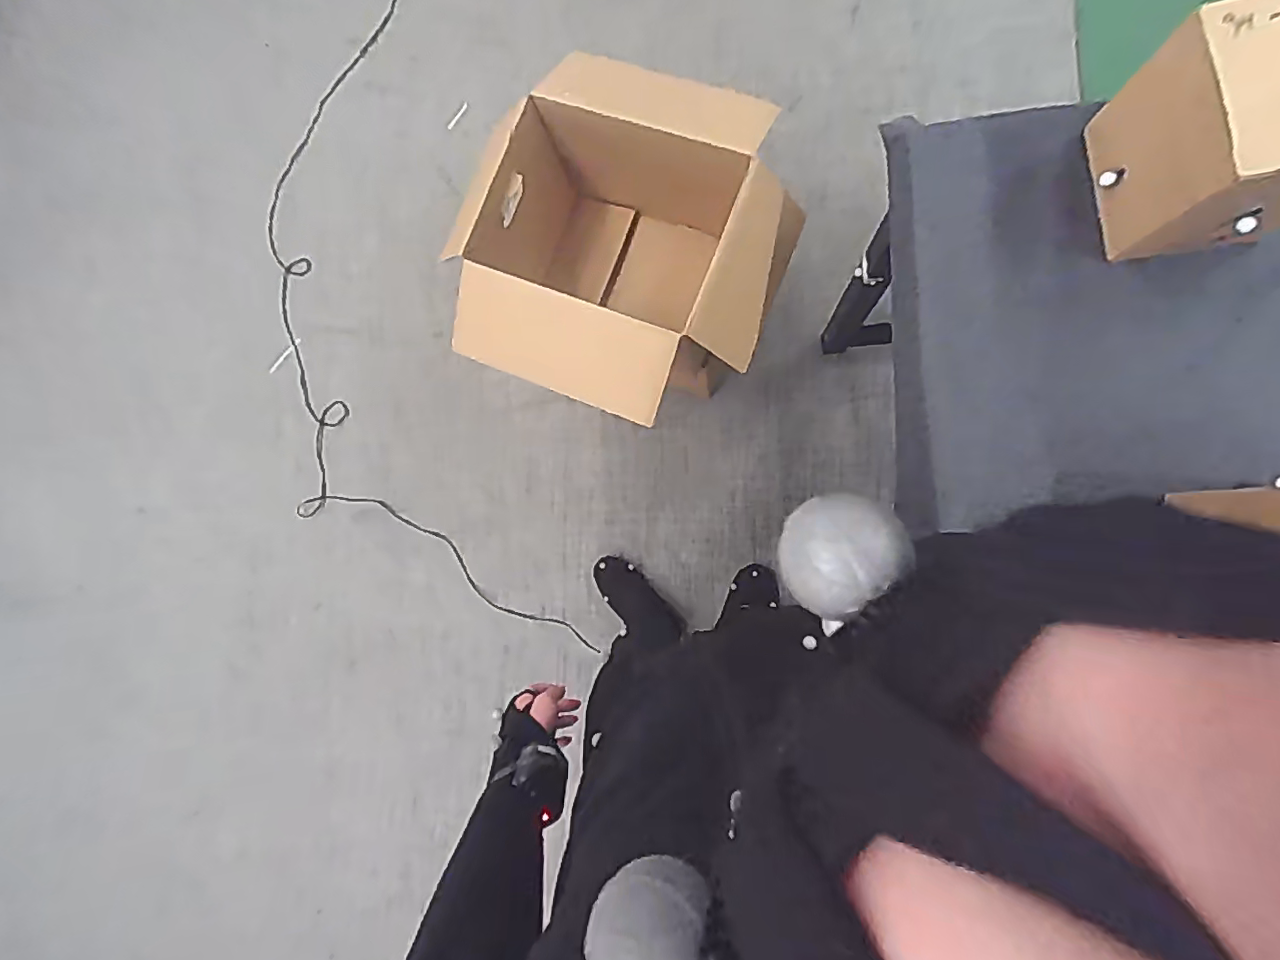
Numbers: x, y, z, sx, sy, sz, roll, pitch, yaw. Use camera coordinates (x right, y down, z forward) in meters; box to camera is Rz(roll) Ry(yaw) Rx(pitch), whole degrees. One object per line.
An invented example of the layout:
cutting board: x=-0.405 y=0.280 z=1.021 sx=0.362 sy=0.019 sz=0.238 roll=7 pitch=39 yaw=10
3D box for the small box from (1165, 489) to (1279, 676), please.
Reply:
small box: x=0.668 y=0.101 z=0.524 sx=0.168 sy=0.176 sz=0.179 roll=1 pitch=84 yaw=7

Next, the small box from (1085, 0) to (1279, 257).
small box: x=0.621 y=-0.356 z=0.570 sx=0.168 sy=0.176 sz=0.179 roll=-7 pitch=85 yaw=8
